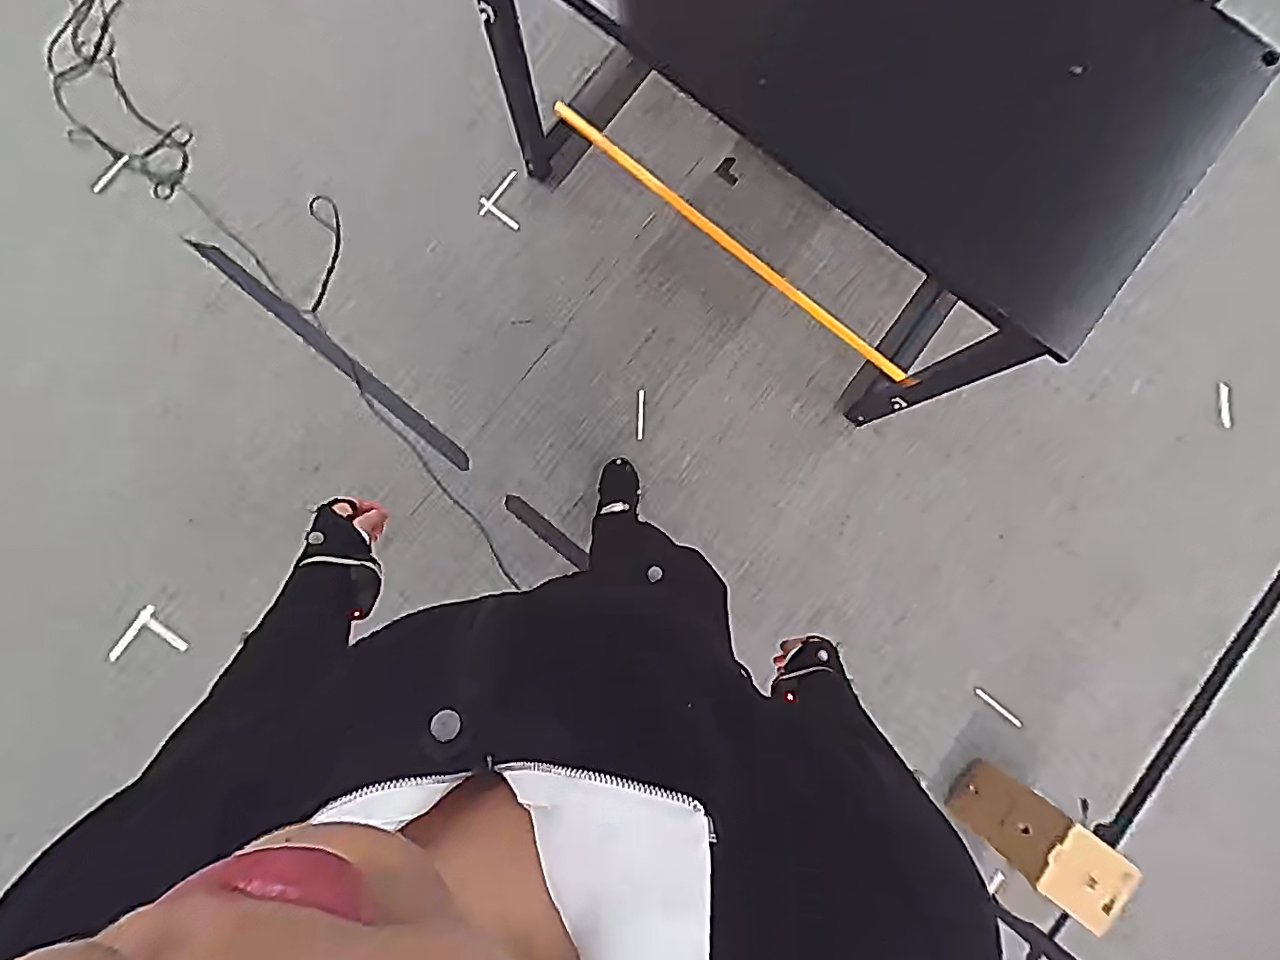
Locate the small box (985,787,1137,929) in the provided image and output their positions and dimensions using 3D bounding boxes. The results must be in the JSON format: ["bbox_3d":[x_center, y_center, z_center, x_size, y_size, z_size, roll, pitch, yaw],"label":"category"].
[{"bbox_3d":[0.937,0.836,1.223,0.179,0.176,0.168,38,86,2],"label":"small box"}]

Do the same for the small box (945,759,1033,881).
[{"bbox_3d":[0.938,0.859,1.386,0.179,0.176,0.168,39,86,1],"label":"small box"}]
